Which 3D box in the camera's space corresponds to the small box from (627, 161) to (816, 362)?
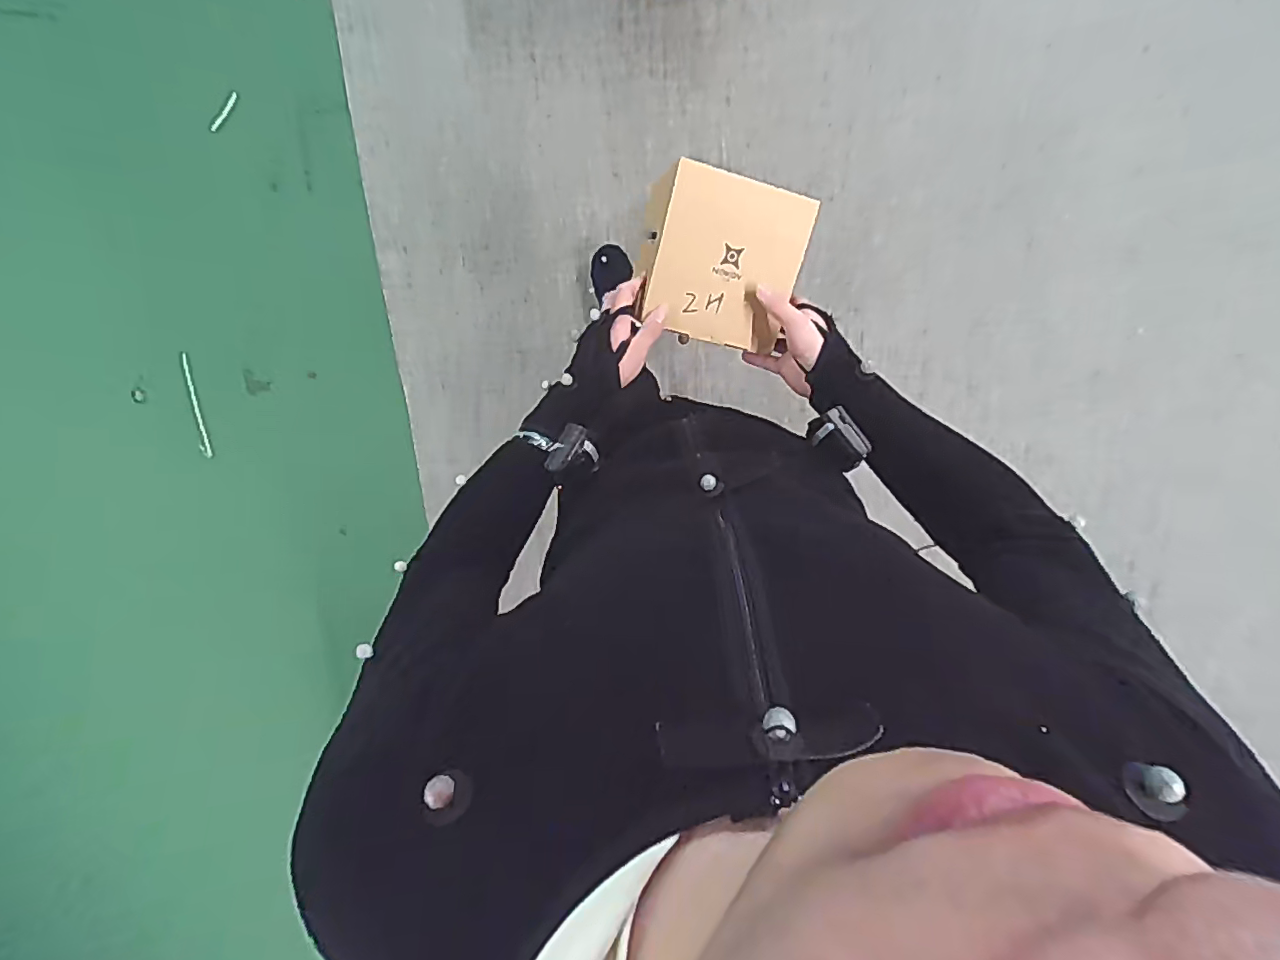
[{"bbox_3d":[0.085,-0.263,0.675,0.168,0.176,0.179,12,109,-11],"label":"small box"}]
